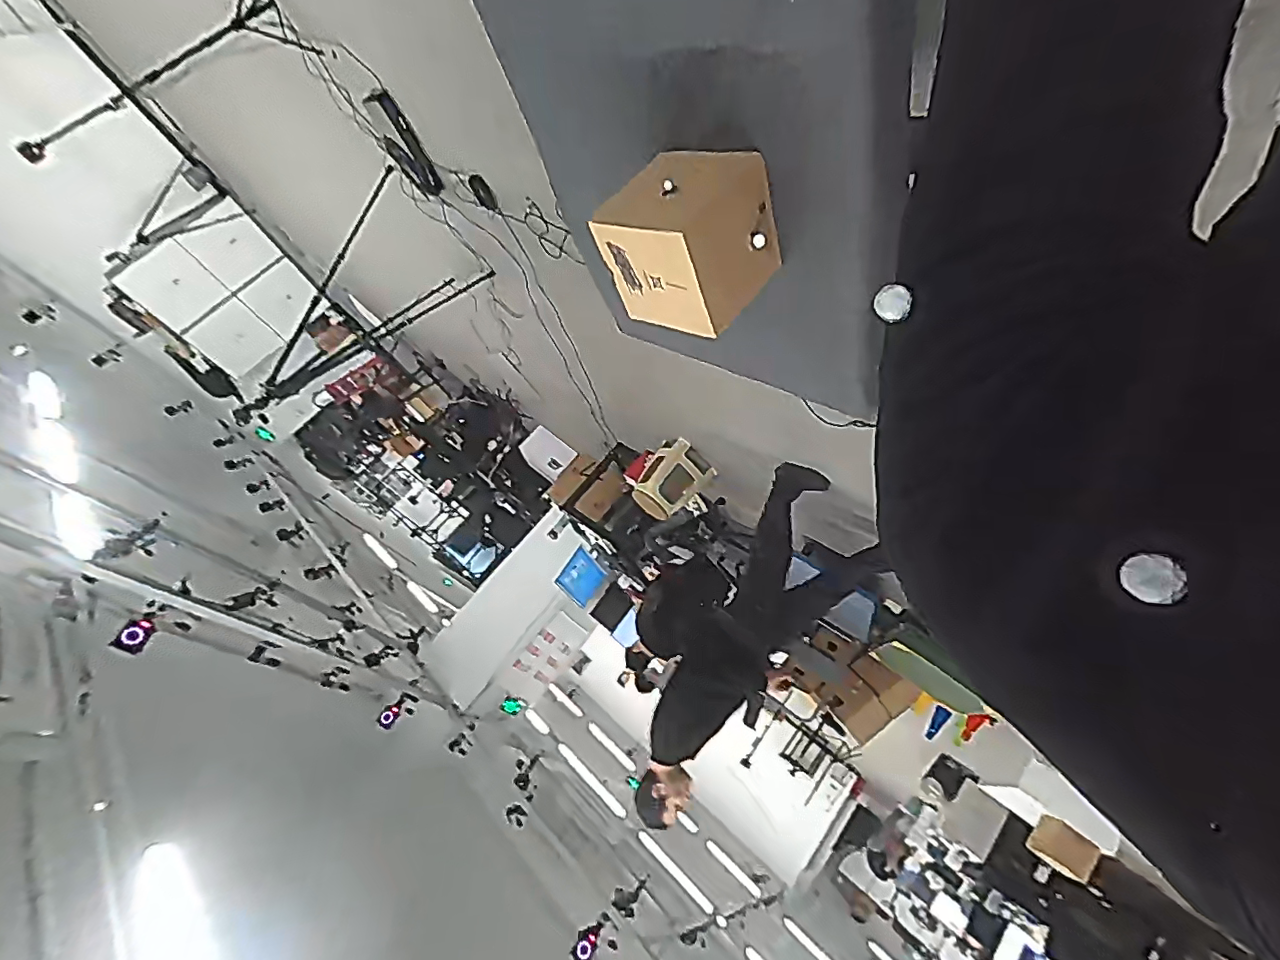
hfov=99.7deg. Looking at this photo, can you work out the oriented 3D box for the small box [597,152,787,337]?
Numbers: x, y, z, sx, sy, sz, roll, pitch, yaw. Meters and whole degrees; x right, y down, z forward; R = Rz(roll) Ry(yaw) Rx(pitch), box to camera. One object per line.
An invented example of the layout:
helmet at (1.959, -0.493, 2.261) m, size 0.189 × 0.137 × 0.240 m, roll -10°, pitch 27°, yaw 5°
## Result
small box at (0.078, -0.333, 0.758) m, size 0.179 × 0.176 × 0.168 m, roll 28°, pitch 160°, yaw 38°
